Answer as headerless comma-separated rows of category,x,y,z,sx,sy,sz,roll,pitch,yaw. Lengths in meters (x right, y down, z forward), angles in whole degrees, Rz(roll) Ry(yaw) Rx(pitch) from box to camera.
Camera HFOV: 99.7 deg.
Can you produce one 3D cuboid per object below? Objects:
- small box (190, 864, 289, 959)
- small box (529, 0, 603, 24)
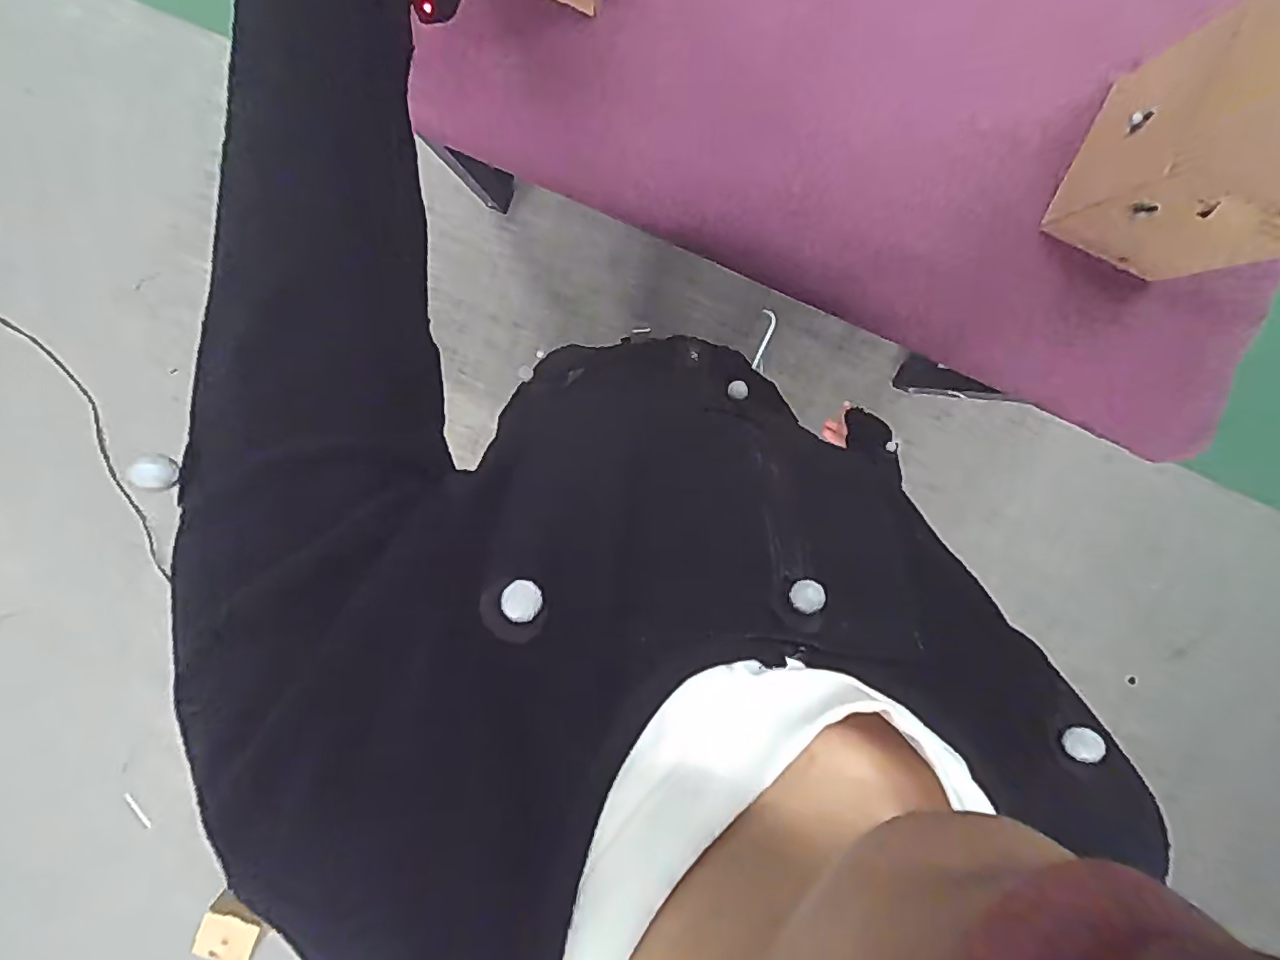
small box,-1.241,1.355,1.689,0.168,0.176,0.179,25,100,-5
small box,-0.097,-0.619,0.532,0.168,0.176,0.179,20,102,-5
